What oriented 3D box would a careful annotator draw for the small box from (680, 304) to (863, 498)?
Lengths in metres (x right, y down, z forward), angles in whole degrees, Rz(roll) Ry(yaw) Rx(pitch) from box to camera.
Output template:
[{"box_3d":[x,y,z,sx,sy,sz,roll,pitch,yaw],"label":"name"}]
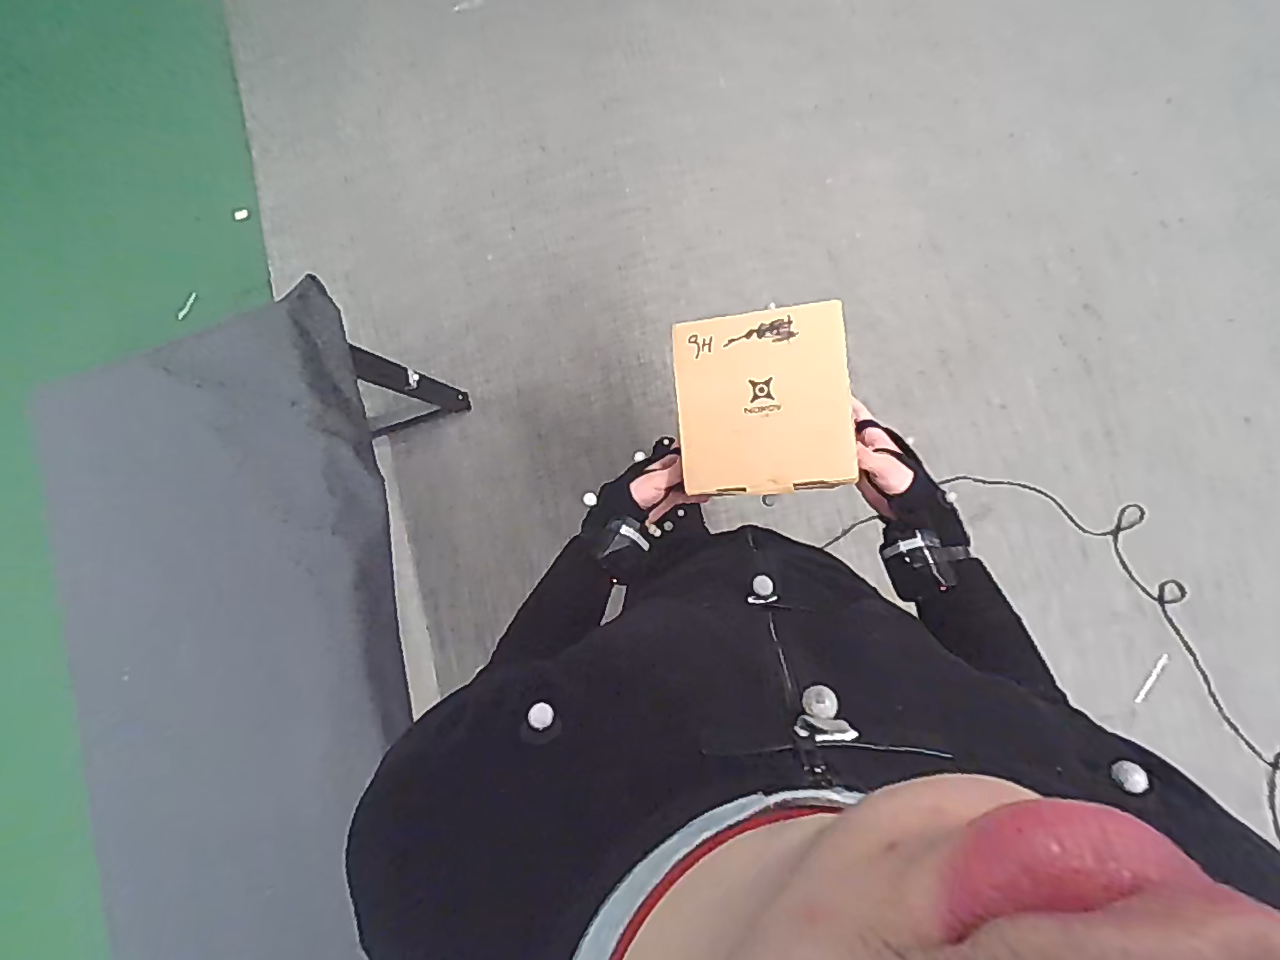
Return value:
[{"box_3d":[0.141,-0.073,0.600,0.168,0.176,0.179,-5,87,11],"label":"small box"}]
